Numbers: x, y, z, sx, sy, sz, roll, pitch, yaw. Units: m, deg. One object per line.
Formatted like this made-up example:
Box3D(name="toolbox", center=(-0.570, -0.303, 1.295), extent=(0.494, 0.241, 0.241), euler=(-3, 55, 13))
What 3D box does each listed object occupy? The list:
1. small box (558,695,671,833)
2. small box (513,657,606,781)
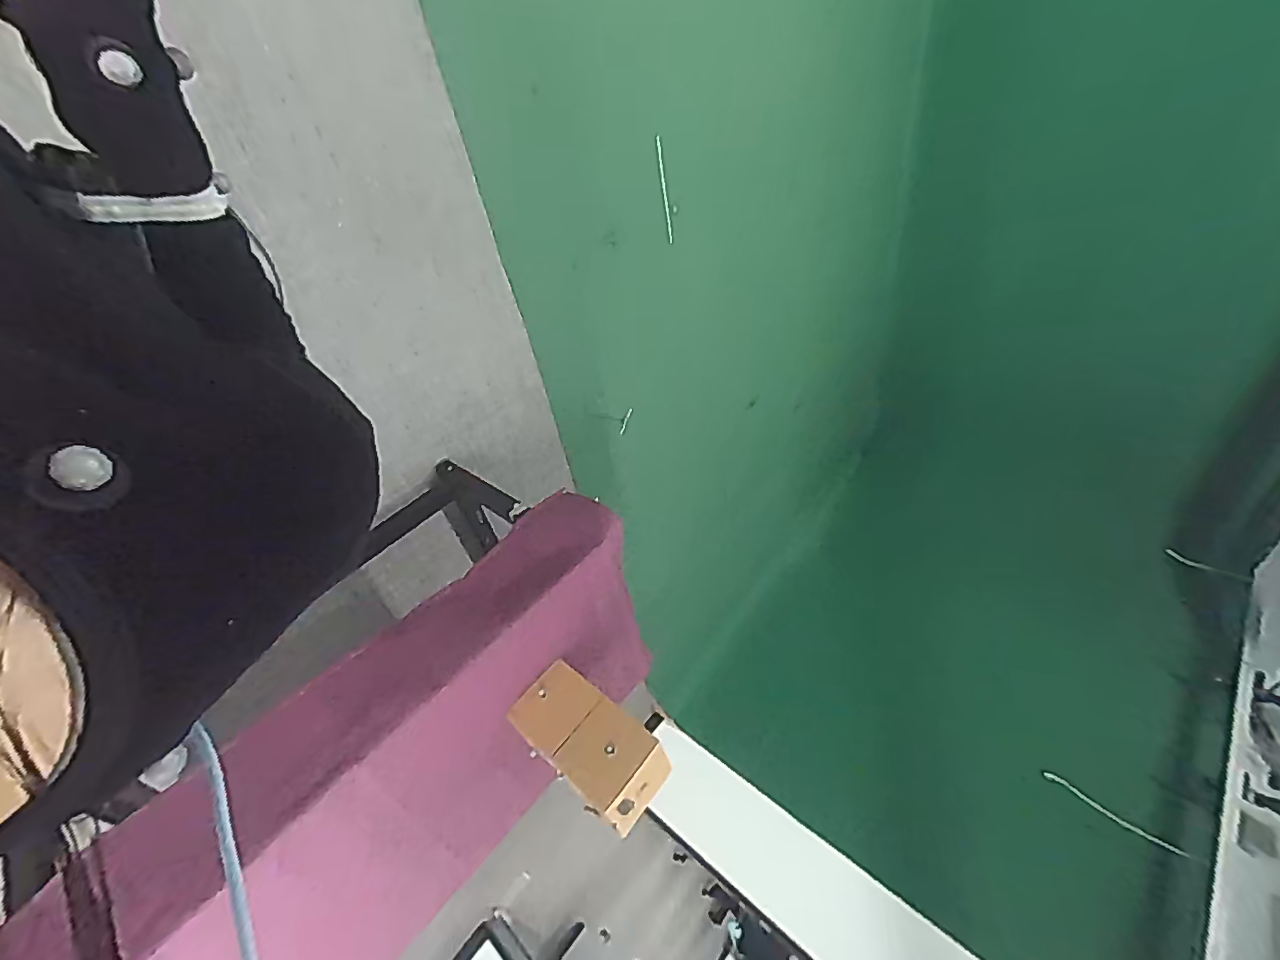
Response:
Box3D(name="small box", center=(-0.060, 0.620, 1.194), extent=(0.179, 0.176, 0.168), euler=(-43, 138, -28))
Box3D(name="small box", center=(-0.179, 0.565, 1.293), extent=(0.179, 0.176, 0.168), euler=(-42, 138, -27))
